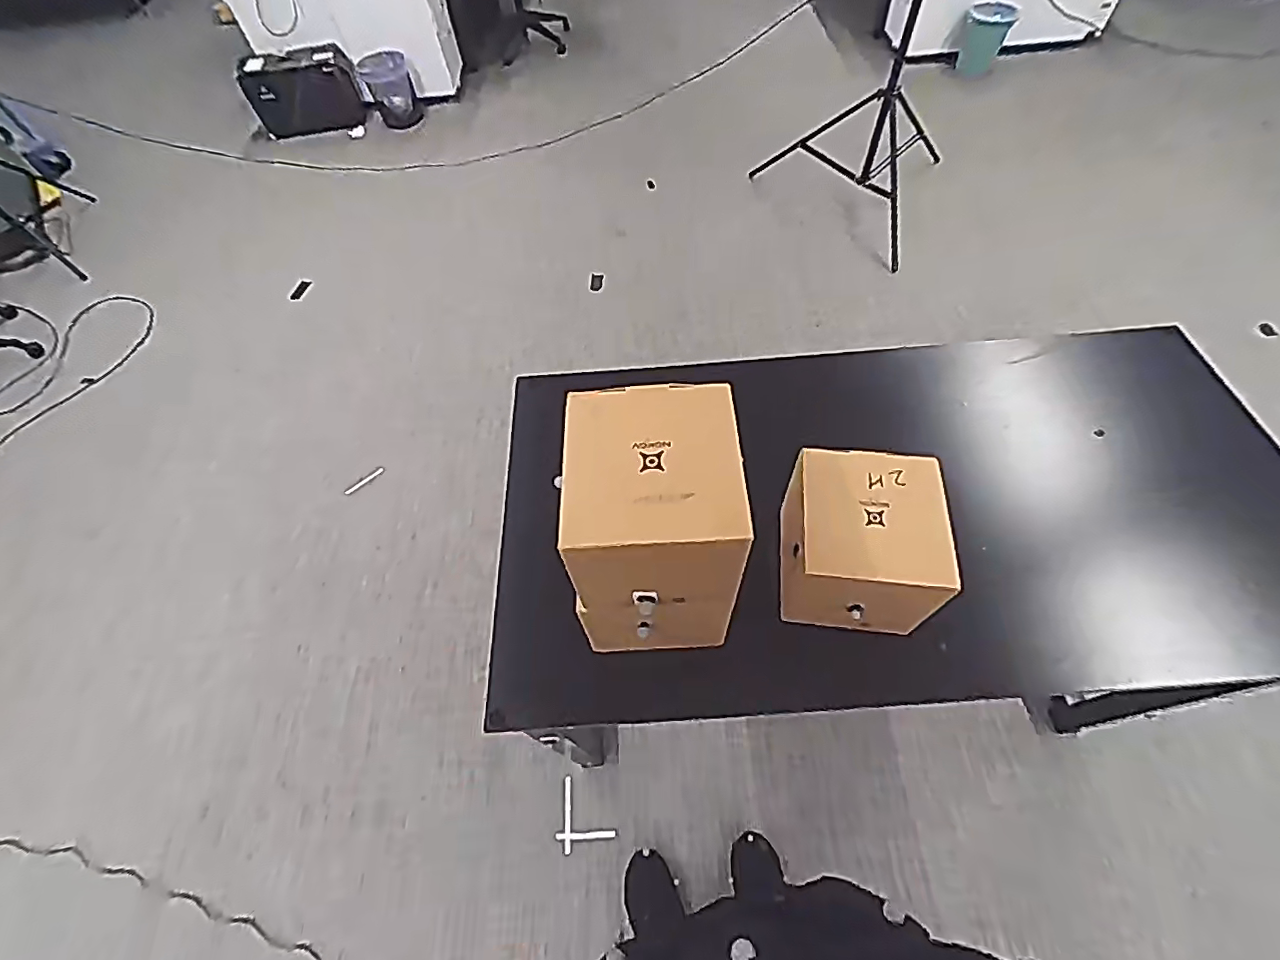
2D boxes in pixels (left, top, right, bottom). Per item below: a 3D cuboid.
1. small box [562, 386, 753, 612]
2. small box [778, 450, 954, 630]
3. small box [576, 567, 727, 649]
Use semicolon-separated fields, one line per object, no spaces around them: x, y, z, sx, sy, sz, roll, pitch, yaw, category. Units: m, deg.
0.017;0.025;0.569;0.168;0.176;0.179;-4;58;2;small box
0.279;0.084;0.707;0.168;0.176;0.179;5;57;7;small box
0.019;0.115;0.706;0.179;0.176;0.168;-4;57;2;small box
